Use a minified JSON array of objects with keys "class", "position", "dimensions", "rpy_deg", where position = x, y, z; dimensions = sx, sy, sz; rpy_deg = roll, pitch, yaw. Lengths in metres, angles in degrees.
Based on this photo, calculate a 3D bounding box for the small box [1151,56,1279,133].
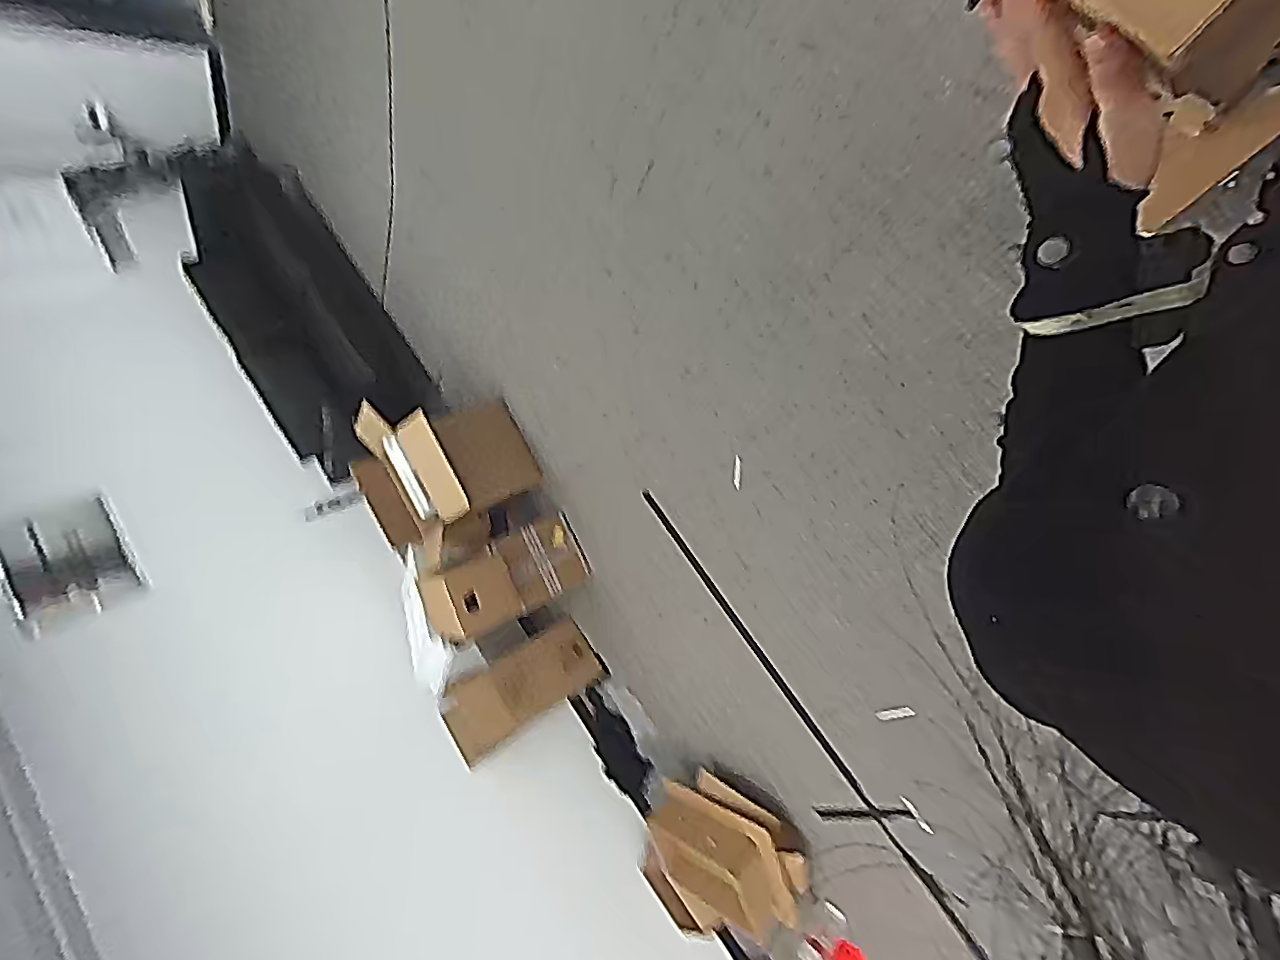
[{"class":"small box","position":[0.624,-0.503,0.579],"dimensions":[0.179,0.176,0.168],"rpy_deg":[52,139,15]}]

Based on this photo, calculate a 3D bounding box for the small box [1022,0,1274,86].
[{"class":"small box","position":[0.279,-0.331,0.268],"dimensions":[0.179,0.176,0.168],"rpy_deg":[50,138,14]}]

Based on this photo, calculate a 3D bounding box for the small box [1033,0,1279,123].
[{"class":"small box","position":[0.506,-0.445,0.478],"dimensions":[0.179,0.176,0.168],"rpy_deg":[48,137,17]}]
